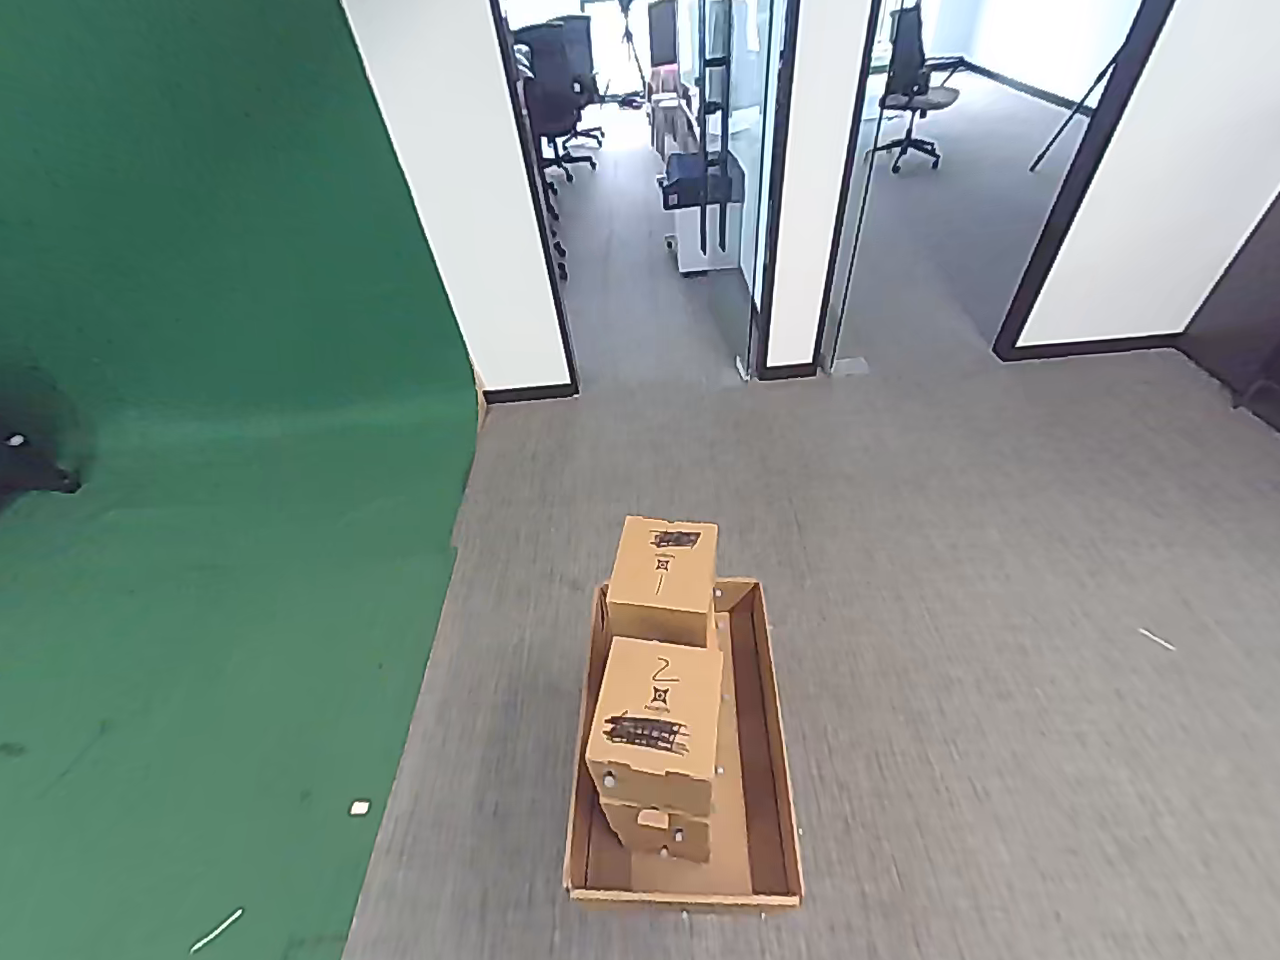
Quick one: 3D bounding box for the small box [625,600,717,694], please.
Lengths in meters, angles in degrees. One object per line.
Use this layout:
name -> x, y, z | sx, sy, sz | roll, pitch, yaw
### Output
small box -> 0.061, 0.303, 1.070 | 0.168, 0.176, 0.179 | -2, 47, 4

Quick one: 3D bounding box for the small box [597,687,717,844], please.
small box -> 0.037, 0.475, 0.897 | 0.168, 0.176, 0.179 | 5, 45, 11

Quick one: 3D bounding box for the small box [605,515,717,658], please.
small box -> 0.043, 0.187, 0.955 | 0.168, 0.176, 0.179 | 5, 49, 11
